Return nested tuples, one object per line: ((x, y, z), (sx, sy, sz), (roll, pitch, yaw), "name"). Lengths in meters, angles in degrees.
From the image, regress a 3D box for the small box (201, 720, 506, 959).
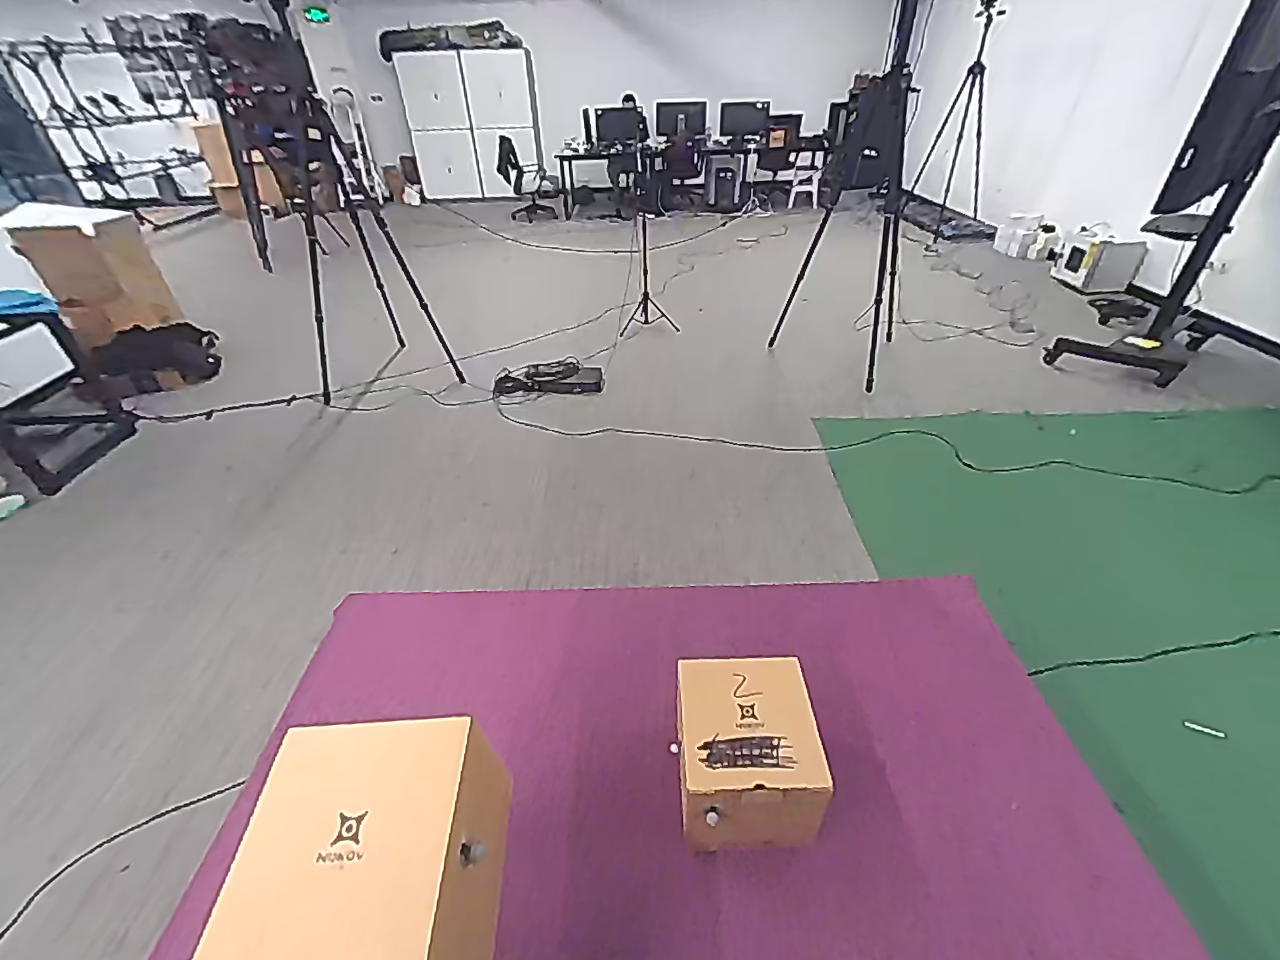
((-0.226, 0.341, 0.488), (0.168, 0.176, 0.179), (-4, 45, 0), "small box")
